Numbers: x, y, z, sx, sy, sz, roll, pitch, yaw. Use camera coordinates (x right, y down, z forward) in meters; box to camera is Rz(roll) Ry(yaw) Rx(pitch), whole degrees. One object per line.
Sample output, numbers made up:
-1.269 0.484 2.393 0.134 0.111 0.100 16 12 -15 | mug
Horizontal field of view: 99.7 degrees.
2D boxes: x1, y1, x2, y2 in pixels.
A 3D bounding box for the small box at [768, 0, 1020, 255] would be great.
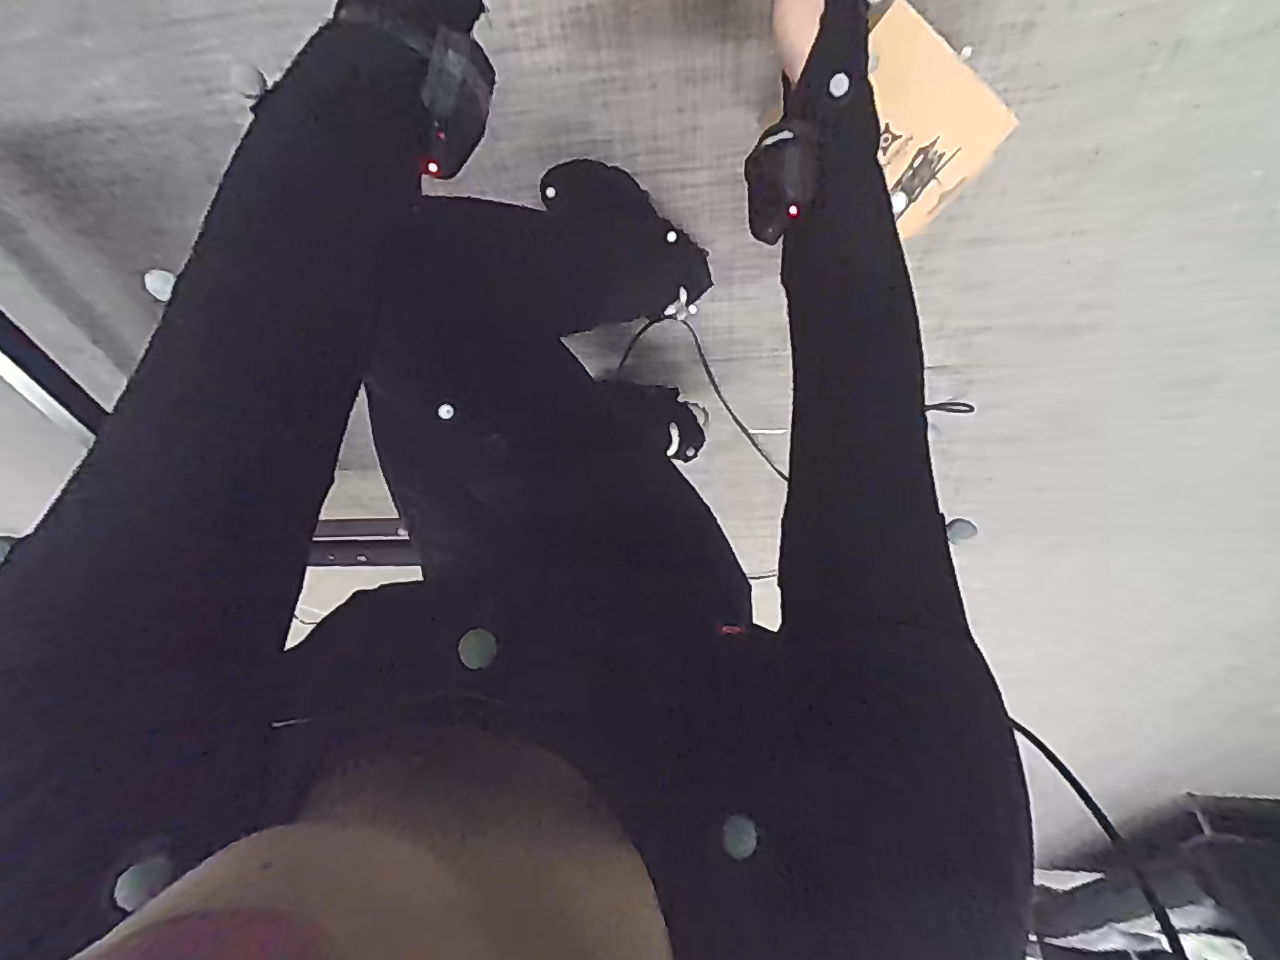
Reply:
0.263 -0.396 0.598 0.179 0.176 0.168 27 133 -20 | small box
